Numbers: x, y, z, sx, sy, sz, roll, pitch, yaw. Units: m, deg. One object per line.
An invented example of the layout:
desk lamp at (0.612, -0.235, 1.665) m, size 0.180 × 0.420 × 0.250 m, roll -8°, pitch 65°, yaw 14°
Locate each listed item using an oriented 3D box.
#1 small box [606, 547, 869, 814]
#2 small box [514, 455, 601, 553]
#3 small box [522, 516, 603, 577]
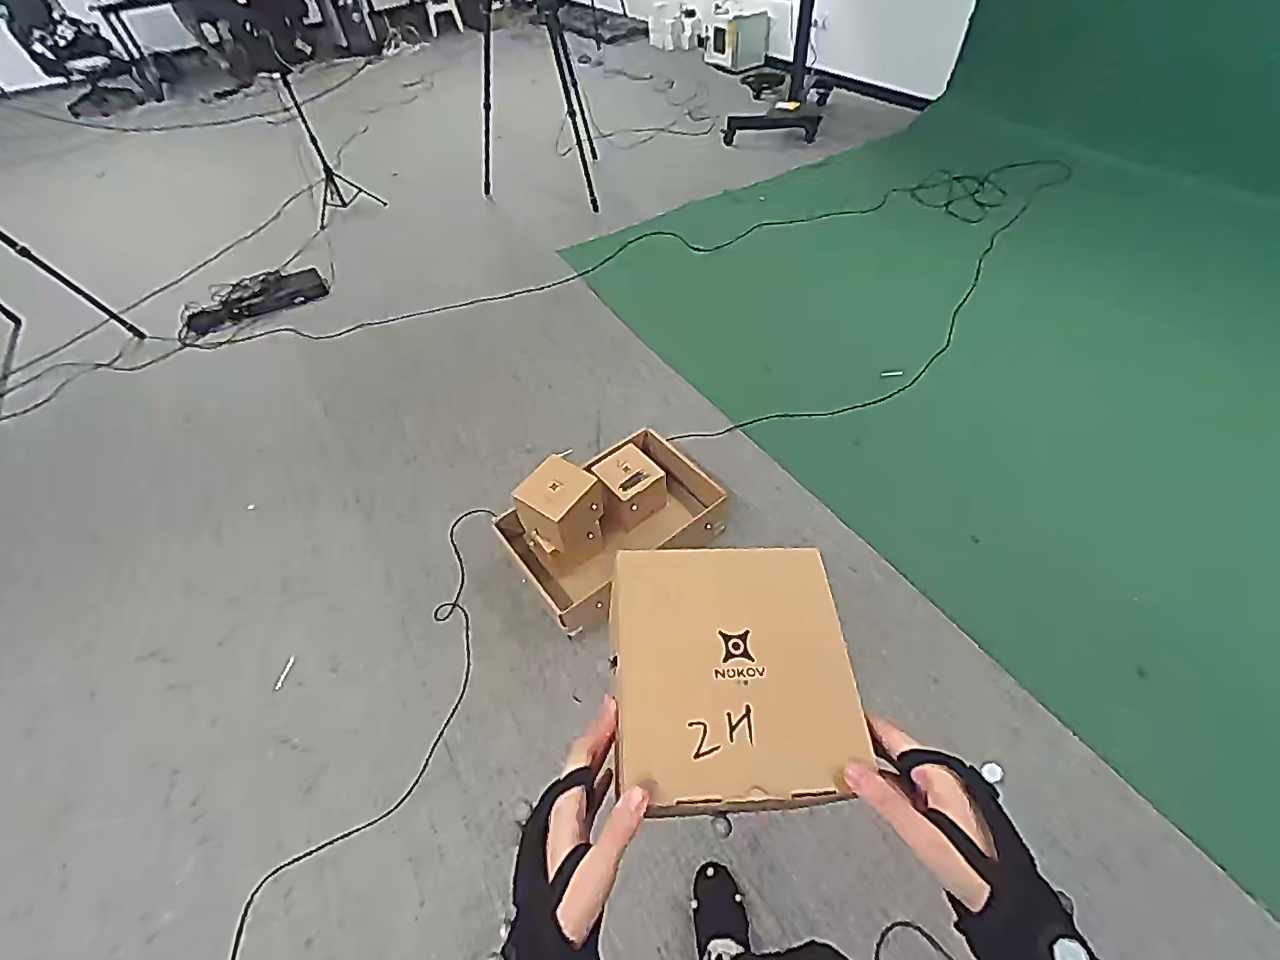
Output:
small box at (0.057, 0.171, 0.453) m, size 0.168 × 0.176 × 0.179 m, roll 0°, pitch 57°, yaw -5°
small box at (-0.222, 0.068, 1.509) m, size 0.168 × 0.176 × 0.179 m, roll 28°, pitch 58°, yaw 23°
small box at (-0.230, 0.163, 1.642) m, size 0.179 × 0.176 × 0.168 m, roll -32°, pitch 57°, yaw -21°
